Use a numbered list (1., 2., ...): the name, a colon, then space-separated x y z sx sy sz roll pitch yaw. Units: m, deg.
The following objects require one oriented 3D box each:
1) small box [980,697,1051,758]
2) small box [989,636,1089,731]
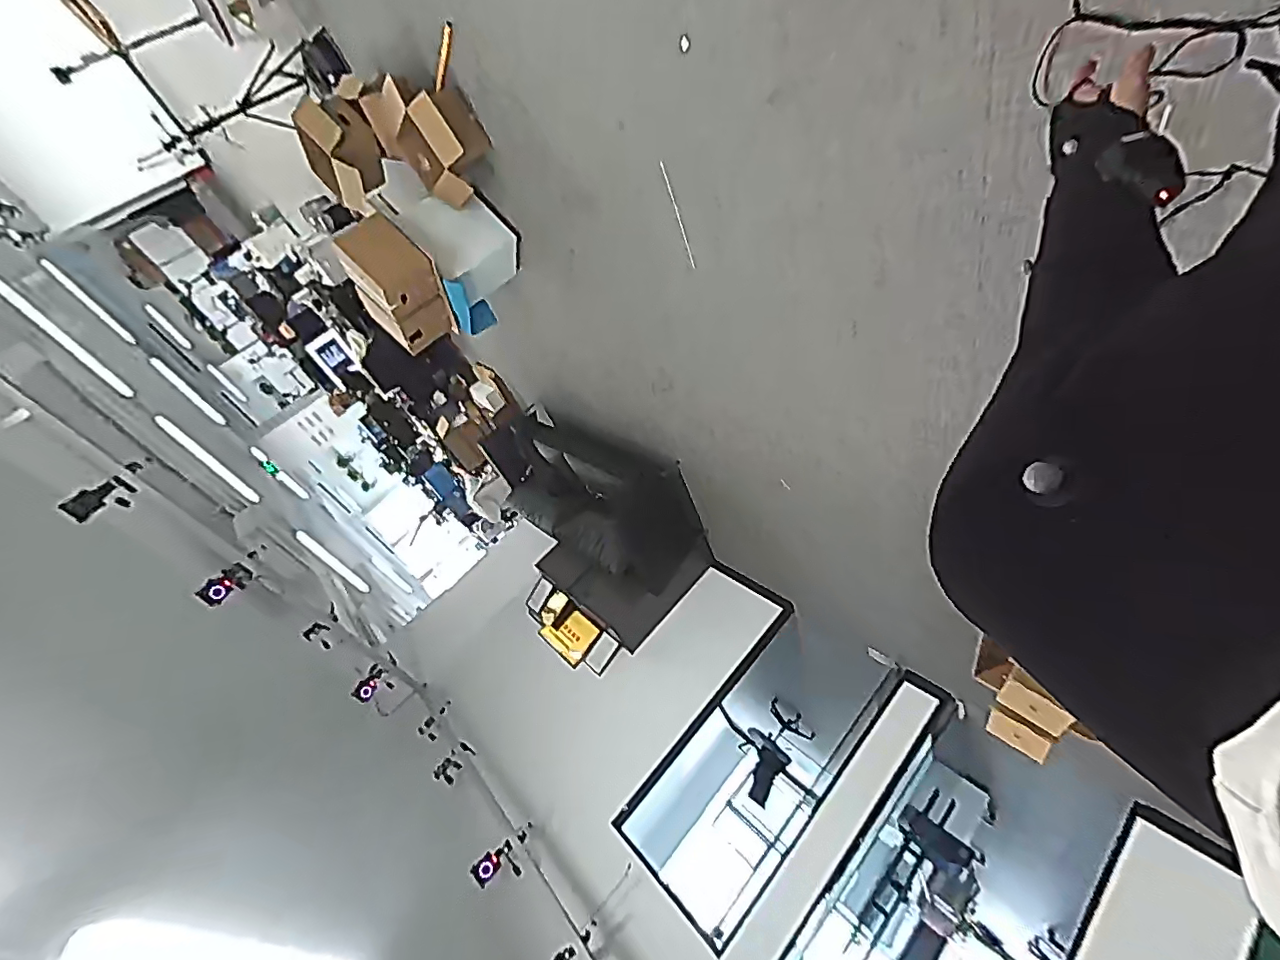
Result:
1. small box: 1.234 0.750 1.746 0.168 0.176 0.179 28 151 42
2. small box: 1.161 0.588 1.574 0.168 0.176 0.179 32 156 35
